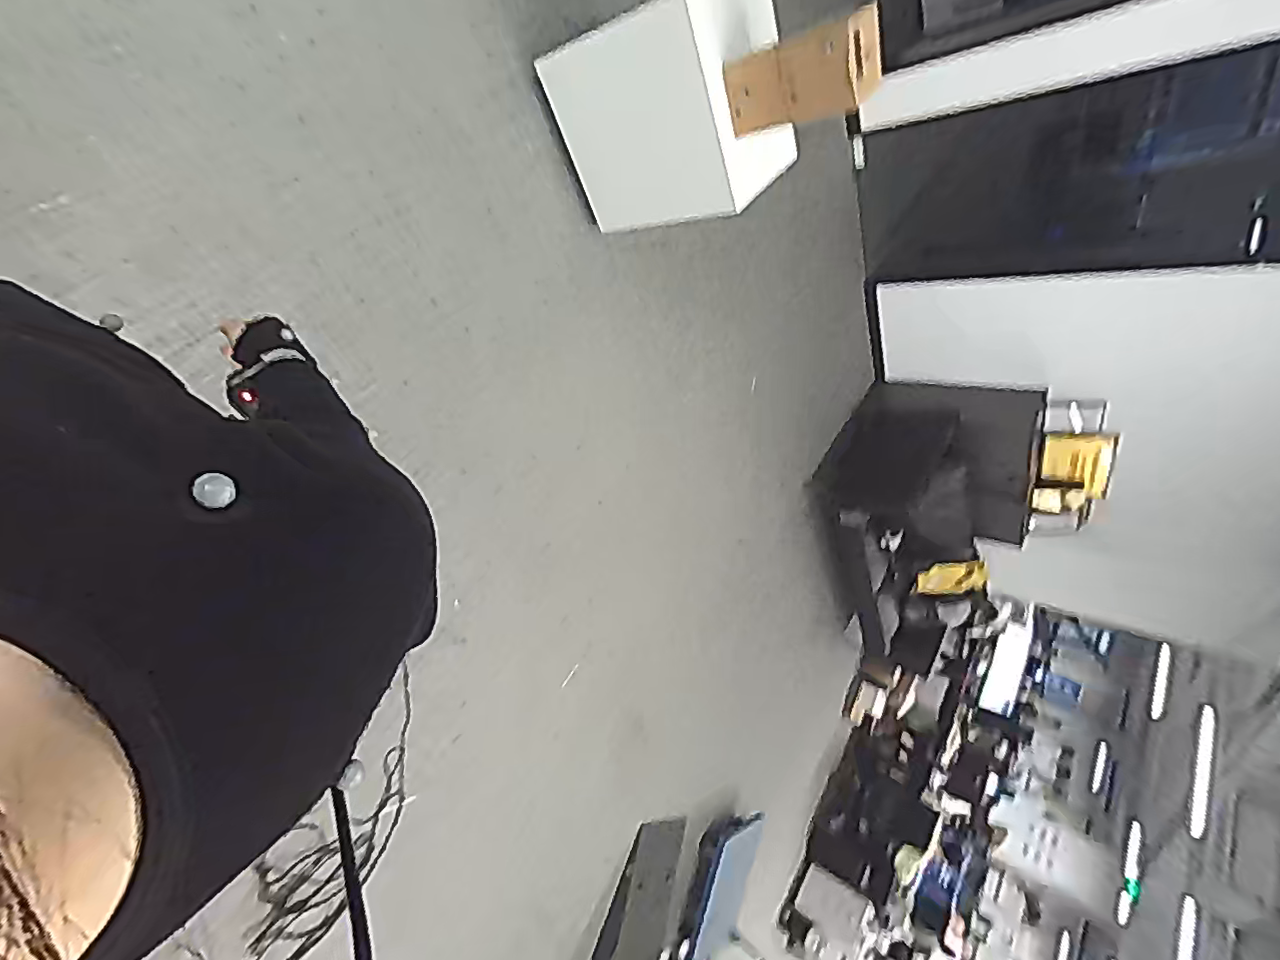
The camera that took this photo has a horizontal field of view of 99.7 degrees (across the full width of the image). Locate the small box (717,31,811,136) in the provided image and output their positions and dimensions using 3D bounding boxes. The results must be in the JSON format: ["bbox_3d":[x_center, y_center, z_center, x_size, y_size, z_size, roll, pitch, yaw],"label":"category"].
[{"bbox_3d":[0.325,-1.030,1.411,0.179,0.176,0.168,-49,134,-30],"label":"small box"}]
